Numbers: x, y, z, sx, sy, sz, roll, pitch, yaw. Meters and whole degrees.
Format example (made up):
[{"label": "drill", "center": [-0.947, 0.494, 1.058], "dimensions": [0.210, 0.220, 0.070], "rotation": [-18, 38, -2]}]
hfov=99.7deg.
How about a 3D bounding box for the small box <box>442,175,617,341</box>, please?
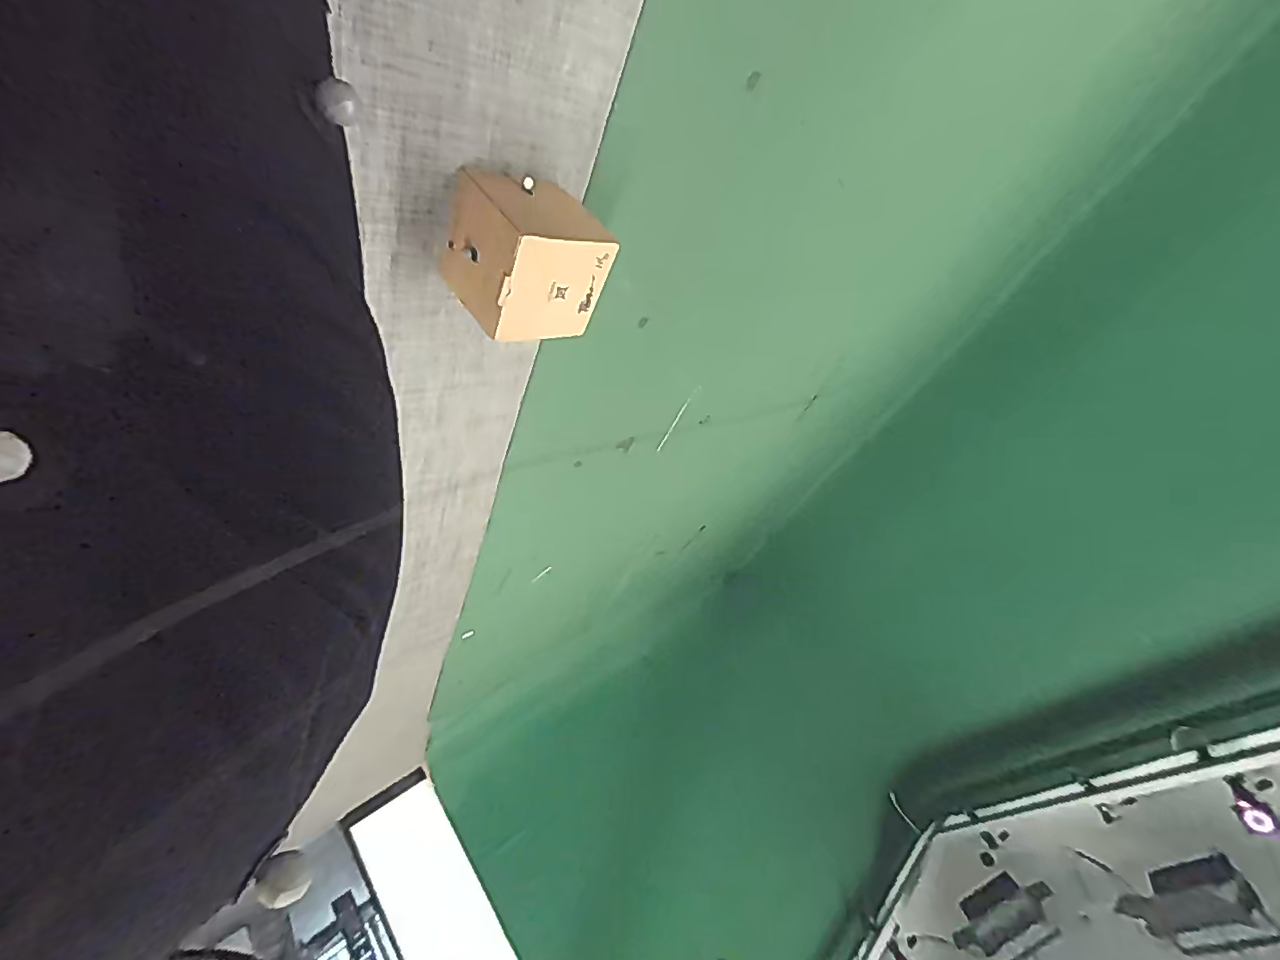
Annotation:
[{"label": "small box", "center": [-0.173, -0.328, 0.812], "dimensions": [0.179, 0.176, 0.168], "rotation": [-17, 150, -43]}]
